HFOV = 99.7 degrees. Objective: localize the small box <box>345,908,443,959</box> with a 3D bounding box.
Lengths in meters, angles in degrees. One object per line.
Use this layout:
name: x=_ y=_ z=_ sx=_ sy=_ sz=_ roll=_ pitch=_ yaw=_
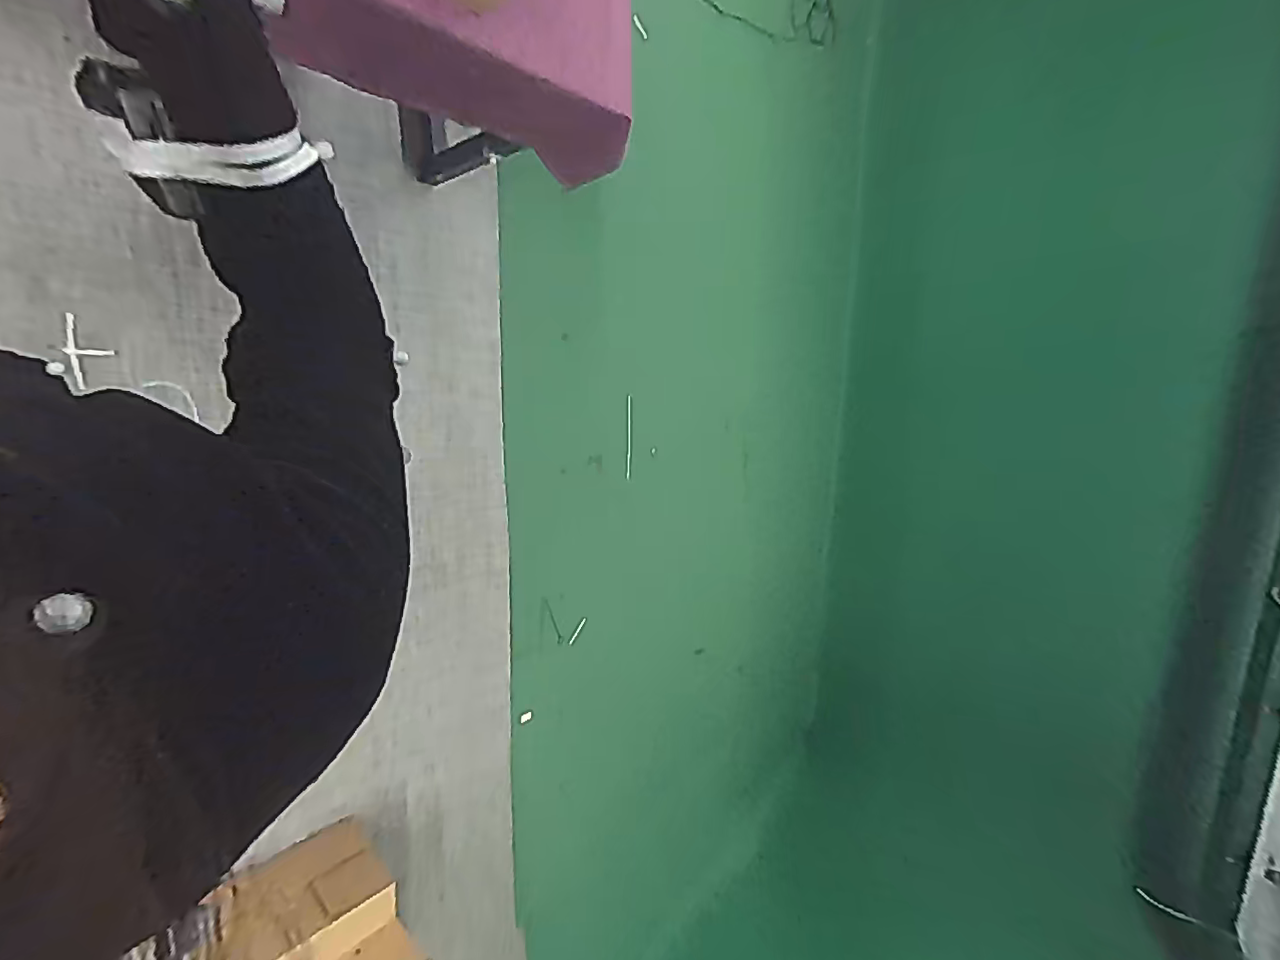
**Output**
small box: x=-0.606 y=1.225 z=1.331 sx=0.168 sy=0.176 sz=0.179 roll=-10 pitch=107 yaw=-51
